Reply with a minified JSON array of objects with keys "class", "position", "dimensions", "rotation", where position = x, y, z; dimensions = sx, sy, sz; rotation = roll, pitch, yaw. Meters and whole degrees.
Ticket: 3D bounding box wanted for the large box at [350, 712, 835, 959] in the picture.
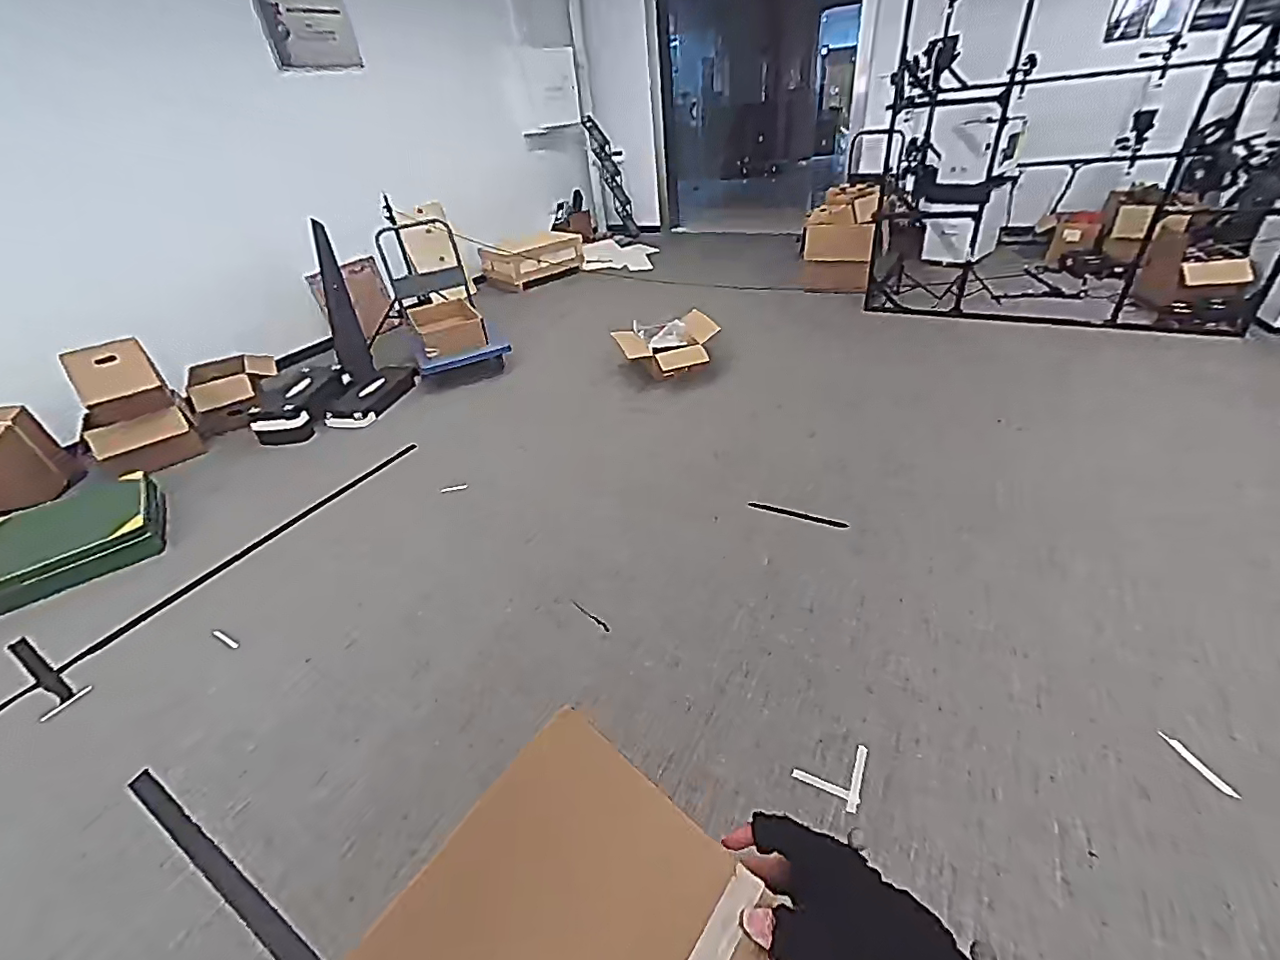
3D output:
[{"class":"large box","position":[-0.090,0.448,0.362],"dimensions":[0.320,0.320,0.408],"rotation":[39,56,9]}]
